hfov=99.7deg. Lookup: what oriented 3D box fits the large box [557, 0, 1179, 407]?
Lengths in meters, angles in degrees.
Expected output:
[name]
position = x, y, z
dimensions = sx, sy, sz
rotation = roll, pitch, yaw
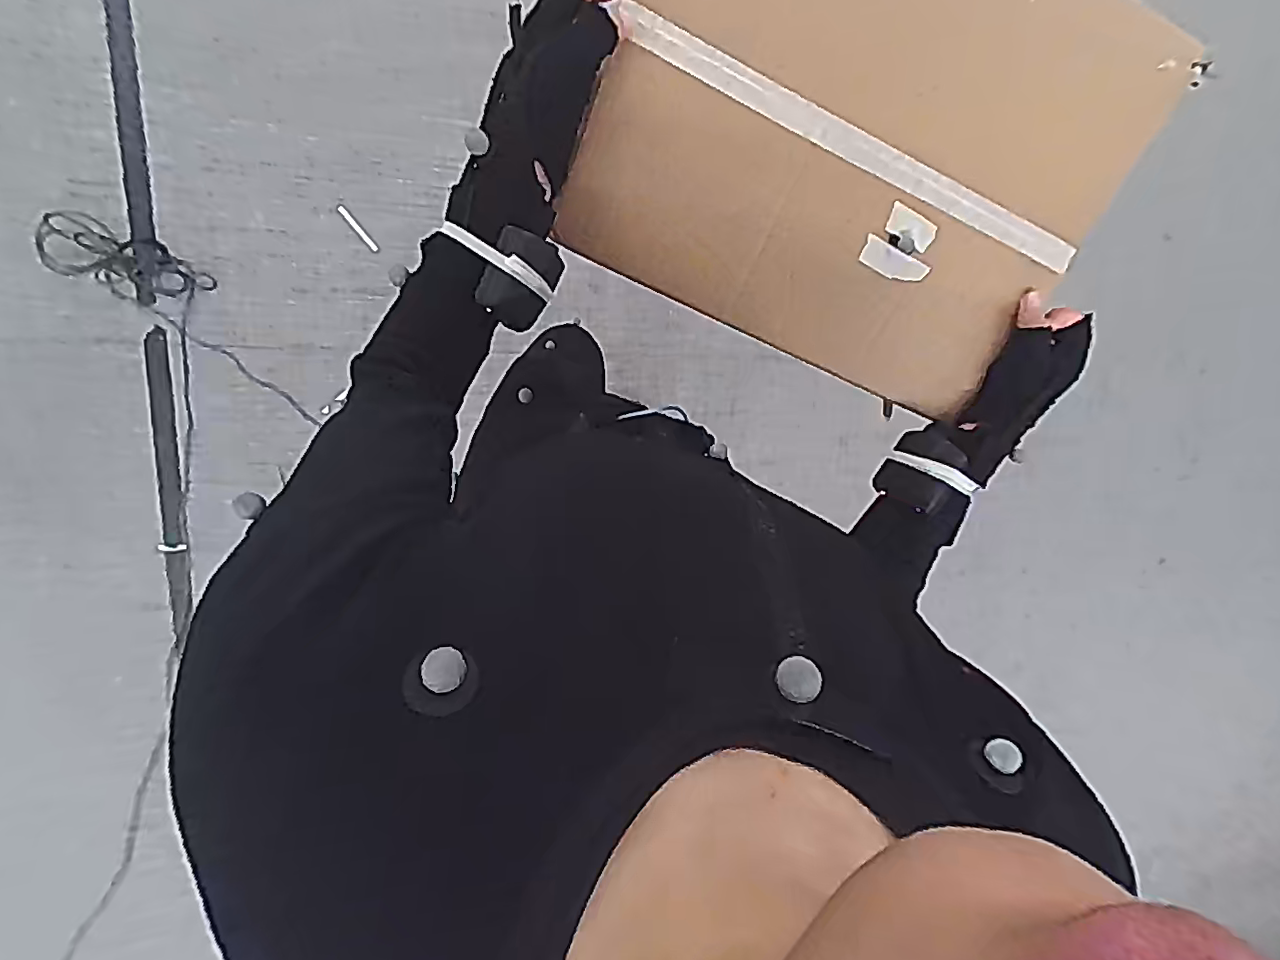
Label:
[large box]
position = 0.164, -0.324, 0.563
dimensions = 0.408, 0.320, 0.320
rotation = 22, 112, -11
